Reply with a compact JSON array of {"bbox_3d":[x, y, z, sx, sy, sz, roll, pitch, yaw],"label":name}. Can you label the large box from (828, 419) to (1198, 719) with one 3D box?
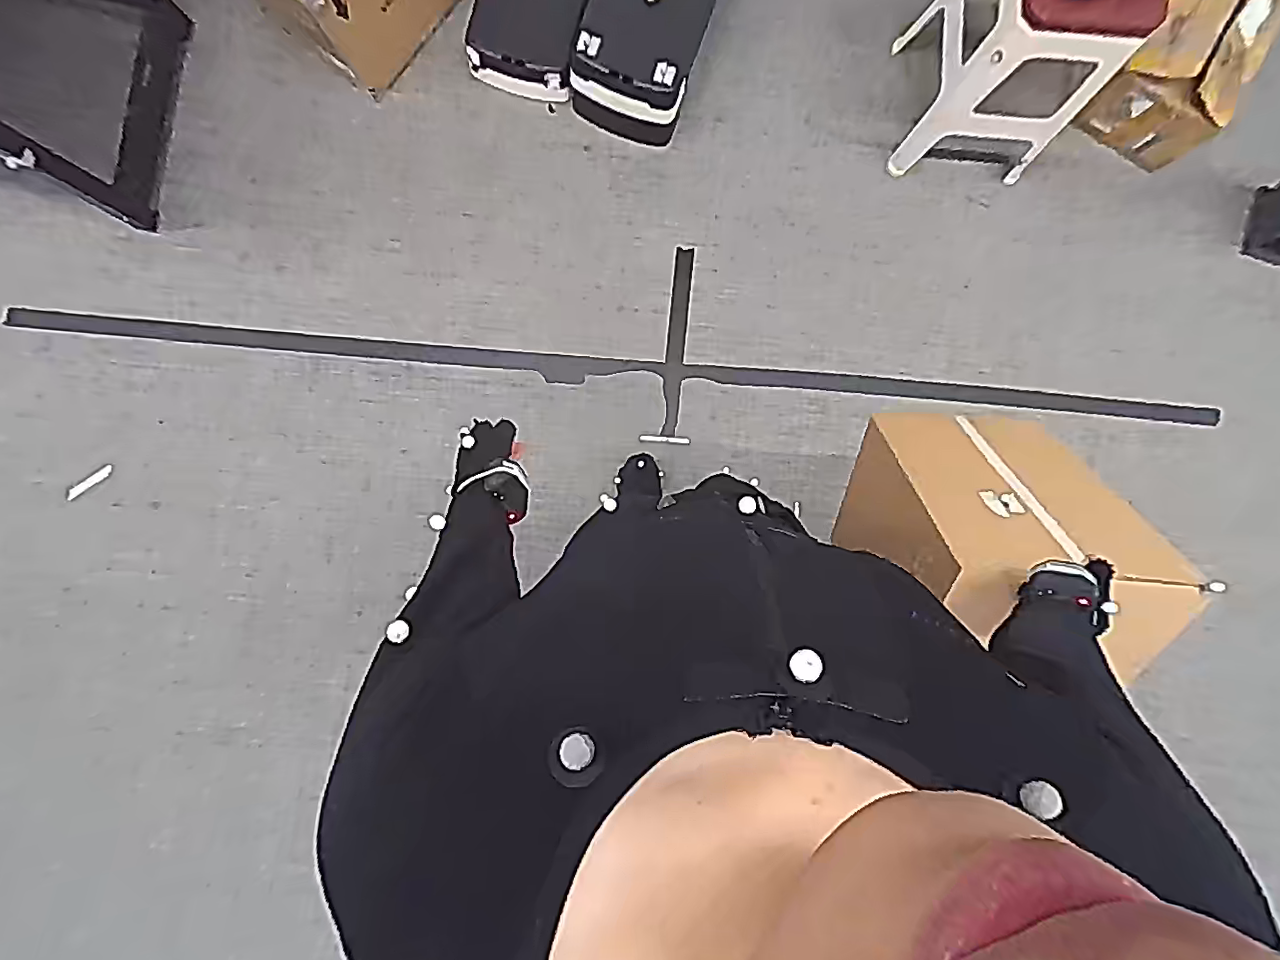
[{"bbox_3d":[0.558,0.135,0.932,0.320,0.408,0.320,4,126,1],"label":"large box"}]
